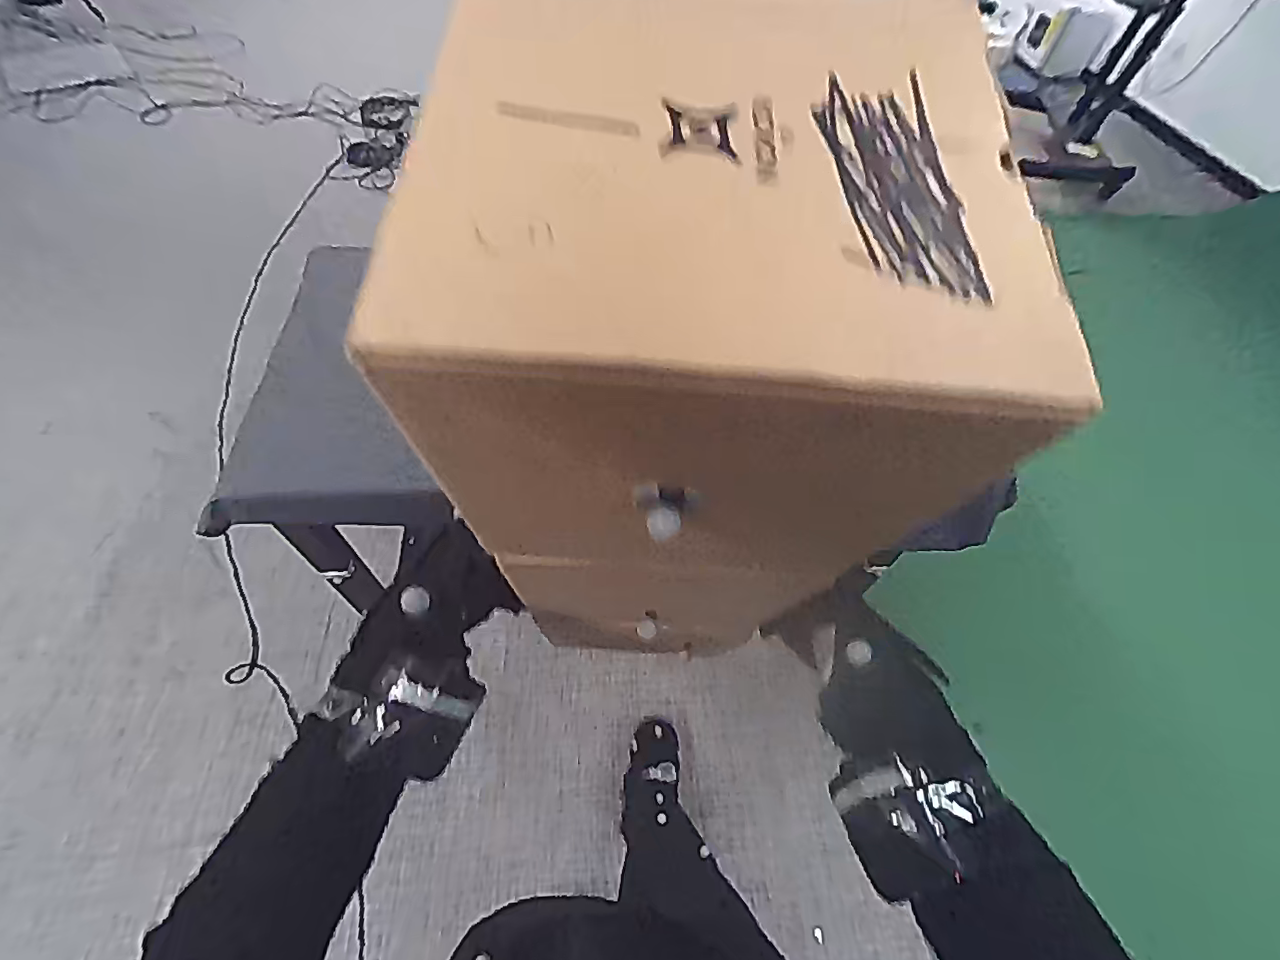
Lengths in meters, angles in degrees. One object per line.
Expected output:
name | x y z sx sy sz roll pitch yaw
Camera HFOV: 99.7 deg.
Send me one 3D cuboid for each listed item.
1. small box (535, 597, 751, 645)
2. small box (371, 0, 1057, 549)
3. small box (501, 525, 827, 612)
small box | 0.002 0.066 0.535 0.179 0.176 0.168 3 65 -2
small box | 0.020 -0.072 0.238 0.179 0.176 0.168 4 66 -2
small box | 0.011 -0.005 0.387 0.179 0.176 0.168 4 65 -4
